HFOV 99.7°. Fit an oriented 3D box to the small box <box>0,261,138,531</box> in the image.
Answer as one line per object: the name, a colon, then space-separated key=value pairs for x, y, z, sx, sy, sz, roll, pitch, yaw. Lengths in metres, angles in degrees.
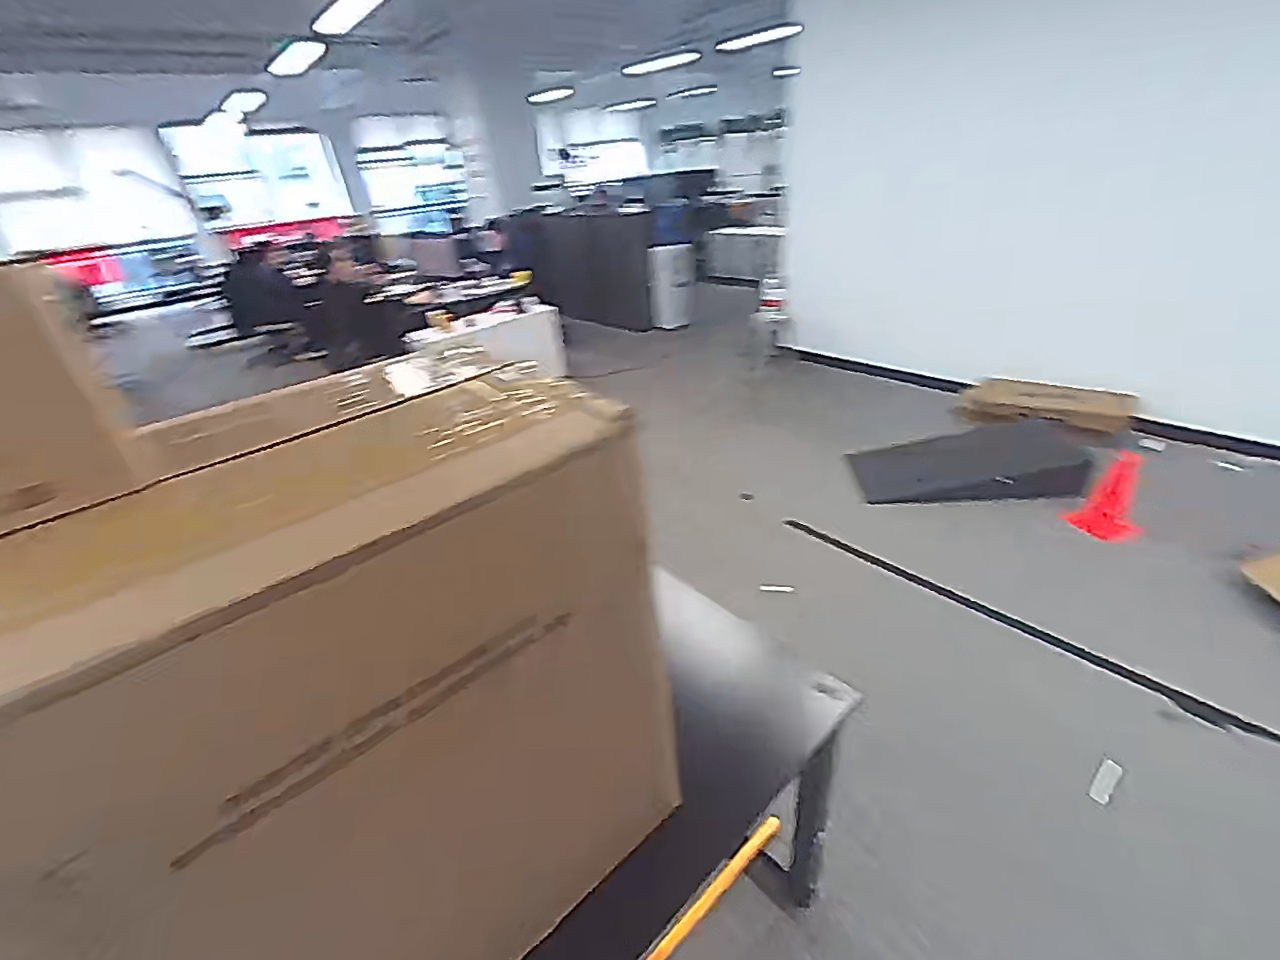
small box: x=-0.514 y=-0.057 z=0.395 sx=0.168 sy=0.176 sz=0.179 roll=-30 pitch=35 yaw=-35
